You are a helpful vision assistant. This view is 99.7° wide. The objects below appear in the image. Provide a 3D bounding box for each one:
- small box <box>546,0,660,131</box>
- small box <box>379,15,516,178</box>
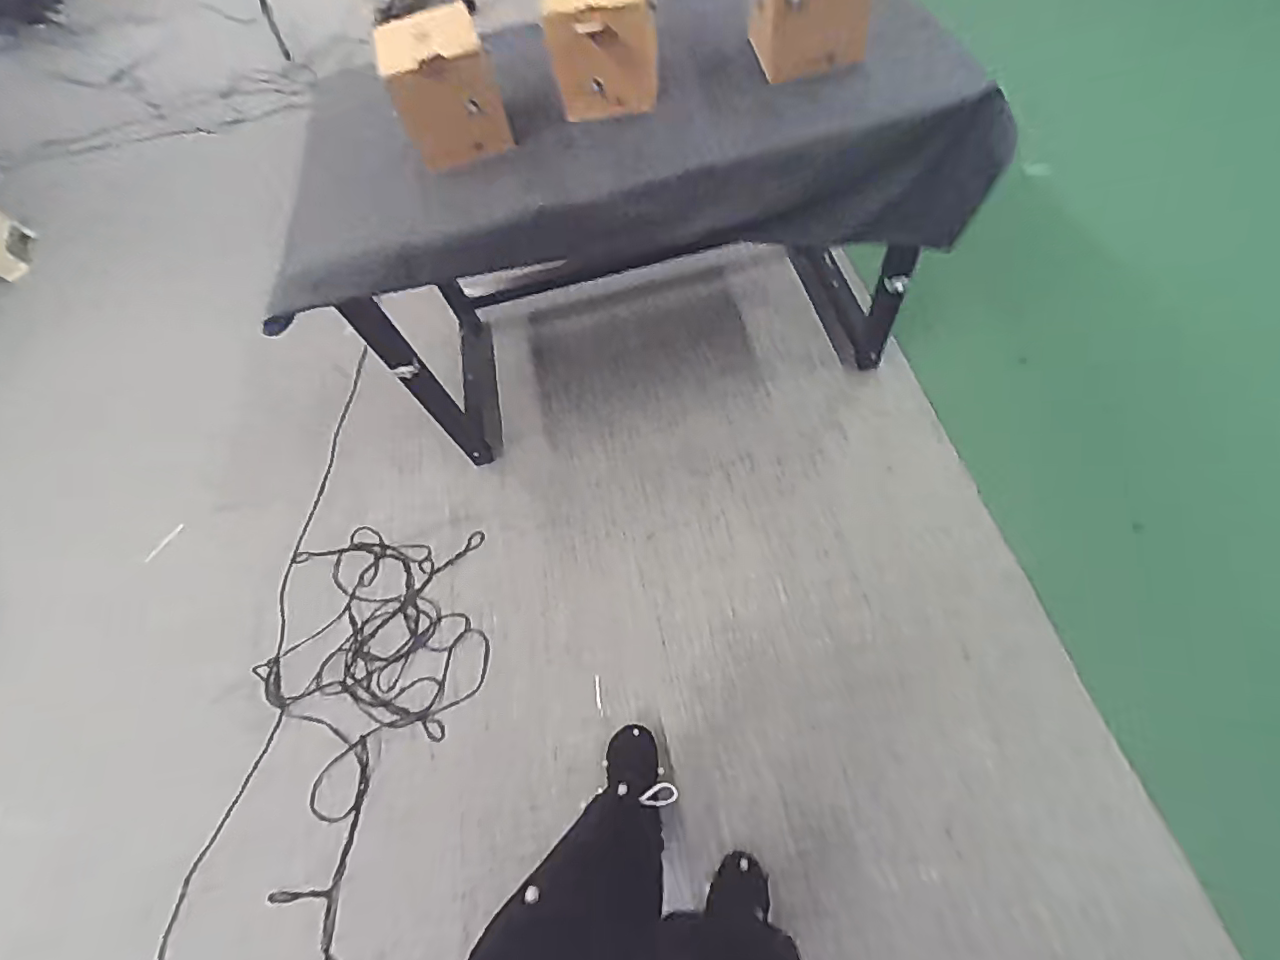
[{"bbox_3d":[-0.056,-0.760,0.963,0.168,0.176,0.179,-1,63,8],"label":"small box"},{"bbox_3d":[-0.334,-0.666,0.956,0.168,0.176,0.179,-19,60,-3],"label":"small box"}]
